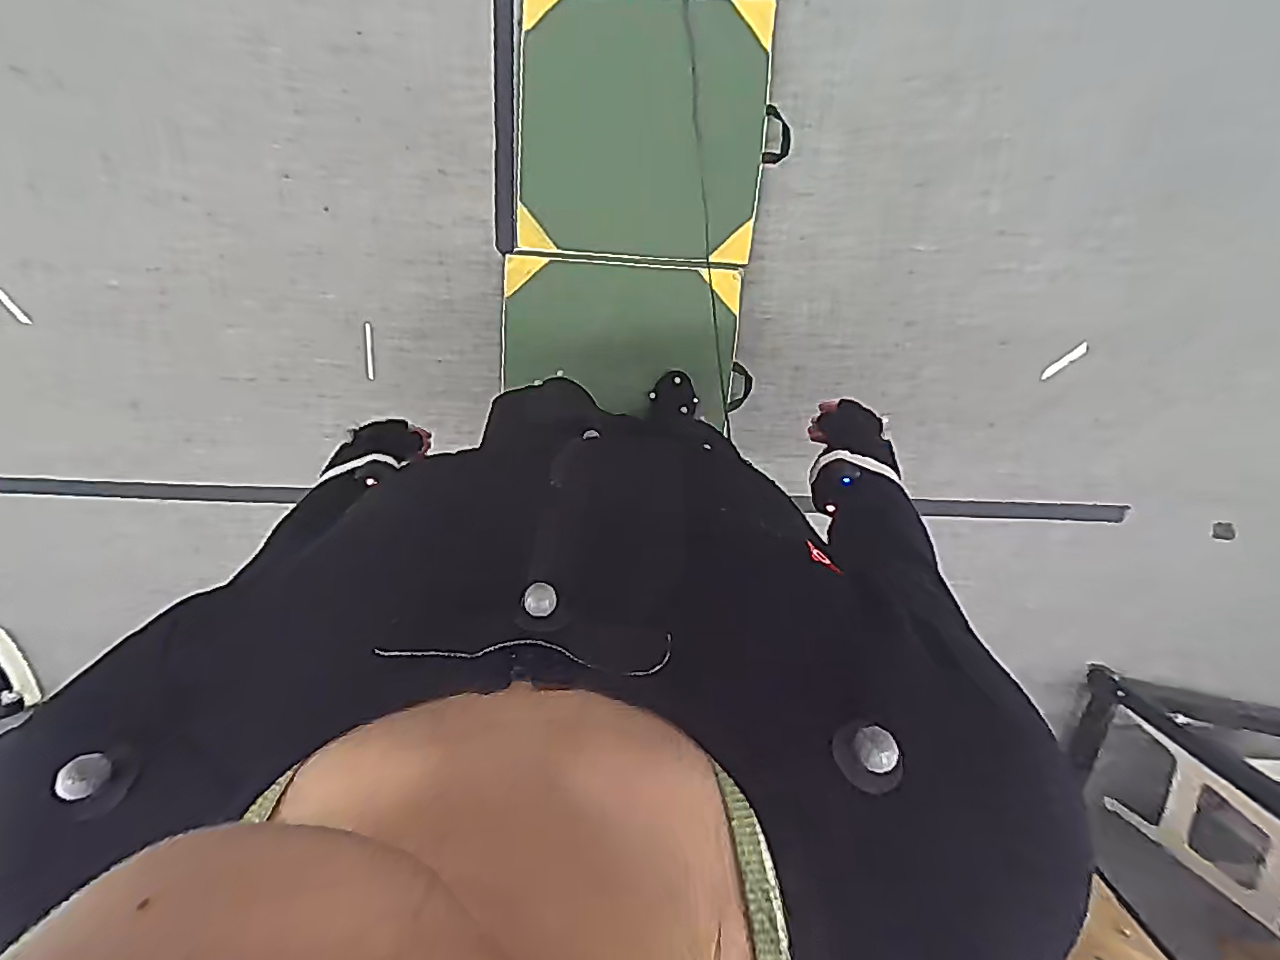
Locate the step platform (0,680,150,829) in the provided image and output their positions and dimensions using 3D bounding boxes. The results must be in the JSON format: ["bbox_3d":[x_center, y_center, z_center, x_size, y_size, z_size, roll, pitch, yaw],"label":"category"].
[{"bbox_3d":[-1.990,0.920,1.739,0.684,0.204,0.286,-26,100,7],"label":"step platform"}]
